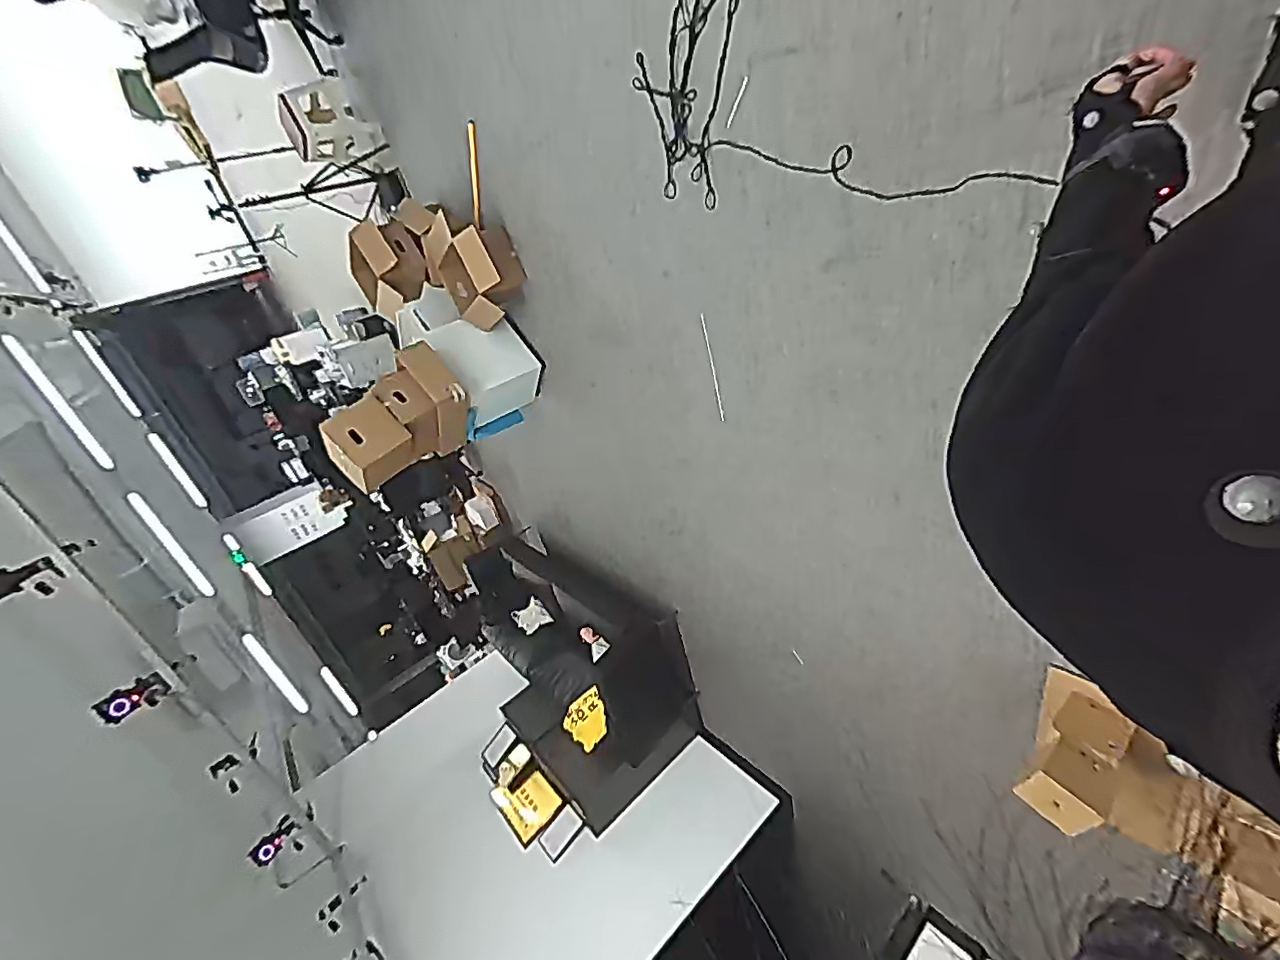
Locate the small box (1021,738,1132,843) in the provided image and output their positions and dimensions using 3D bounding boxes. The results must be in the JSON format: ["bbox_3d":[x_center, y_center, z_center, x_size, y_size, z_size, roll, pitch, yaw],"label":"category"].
[{"bbox_3d":[1.242,0.881,1.539,0.168,0.176,0.179,38,146,33],"label":"small box"}]

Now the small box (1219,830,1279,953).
[{"bbox_3d":[1.485,0.963,1.245,0.168,0.176,0.179,19,133,50],"label":"small box"}]

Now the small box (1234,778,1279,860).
[{"bbox_3d":[1.605,0.881,1.322,0.168,0.176,0.179,18,133,50],"label":"small box"}]
